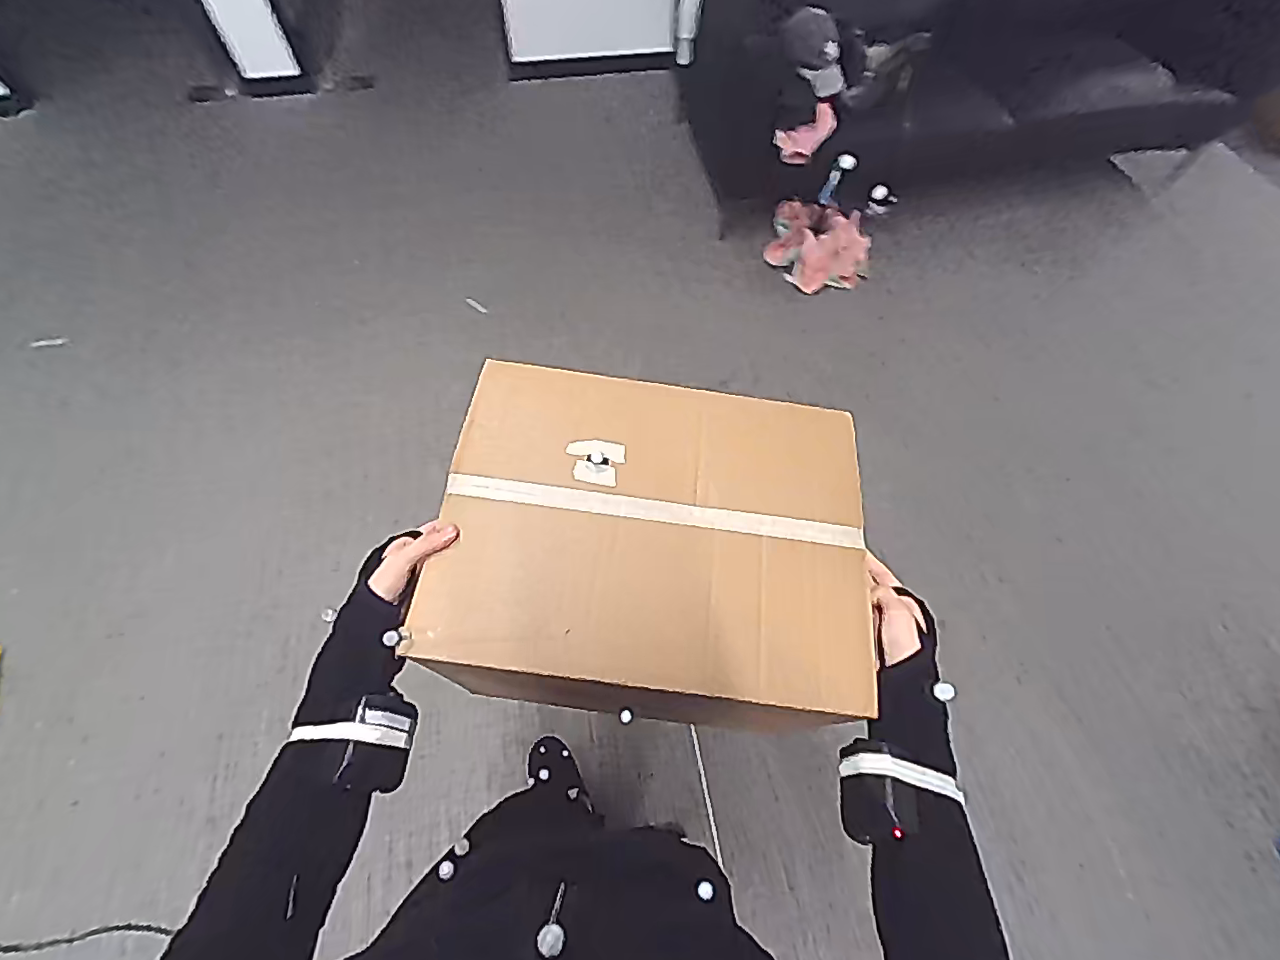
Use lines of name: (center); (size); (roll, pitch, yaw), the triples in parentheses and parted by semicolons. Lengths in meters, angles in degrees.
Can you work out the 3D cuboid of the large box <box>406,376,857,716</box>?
large box: (-0.001, 0.105, 0.669); (0.408, 0.320, 0.320); (7, 62, -1)
